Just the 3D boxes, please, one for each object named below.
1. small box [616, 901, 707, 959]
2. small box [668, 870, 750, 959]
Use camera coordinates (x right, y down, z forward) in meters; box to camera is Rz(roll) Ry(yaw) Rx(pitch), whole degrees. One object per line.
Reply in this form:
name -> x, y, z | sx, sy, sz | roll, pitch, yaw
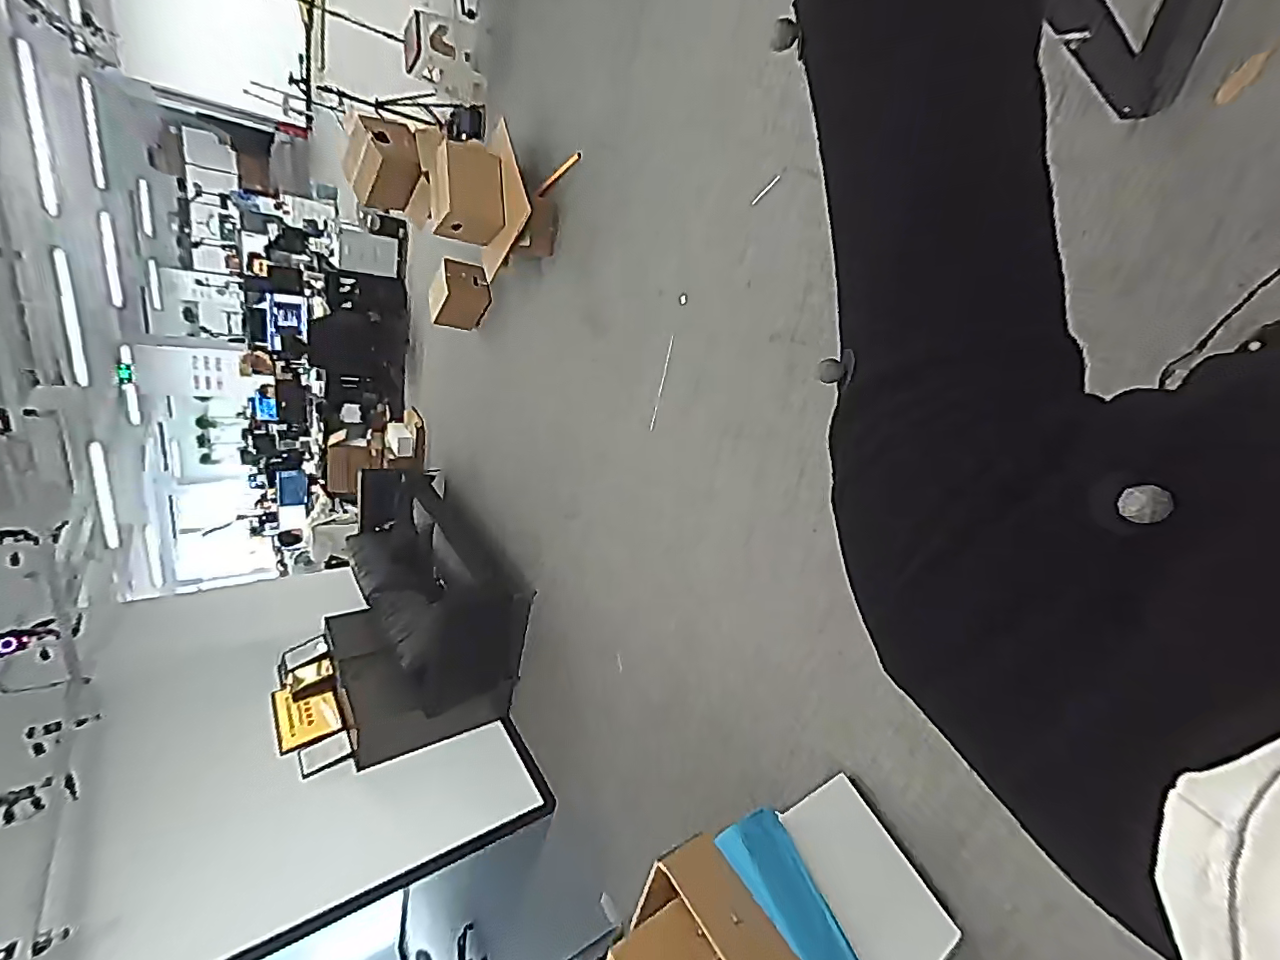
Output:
small box -> 0.055, 1.289, 1.441 | 0.179, 0.176, 0.168 | 34, 122, 46
small box -> 0.185, 1.270, 1.538 | 0.179, 0.176, 0.168 | 35, 123, 44
